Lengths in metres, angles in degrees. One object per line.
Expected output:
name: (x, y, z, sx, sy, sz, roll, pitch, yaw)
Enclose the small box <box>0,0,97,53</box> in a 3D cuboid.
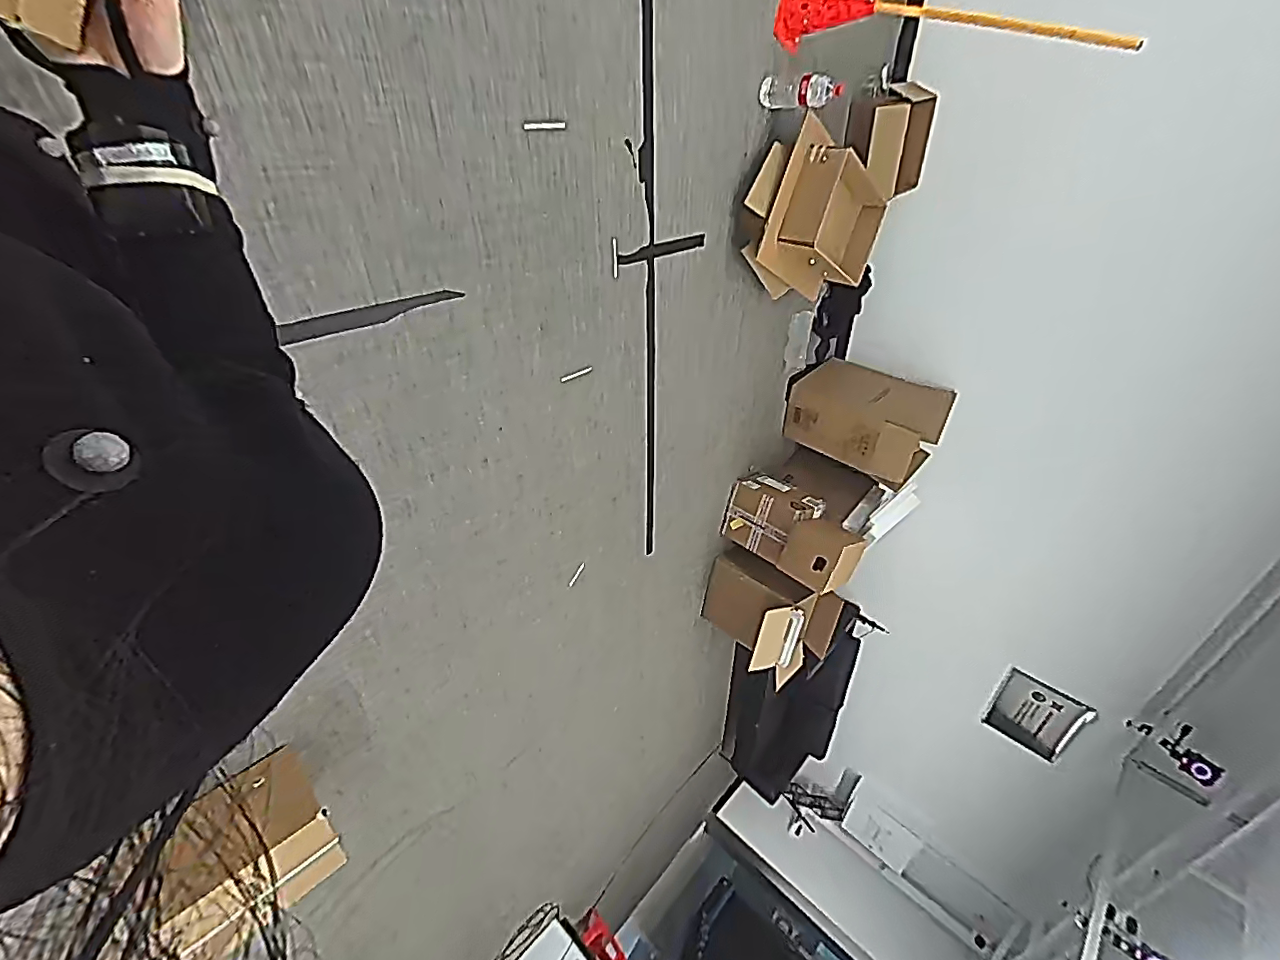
small box: (-0.323, -0.313, 0.210, 0.168, 0.176, 0.179, 14, 110, -44)
